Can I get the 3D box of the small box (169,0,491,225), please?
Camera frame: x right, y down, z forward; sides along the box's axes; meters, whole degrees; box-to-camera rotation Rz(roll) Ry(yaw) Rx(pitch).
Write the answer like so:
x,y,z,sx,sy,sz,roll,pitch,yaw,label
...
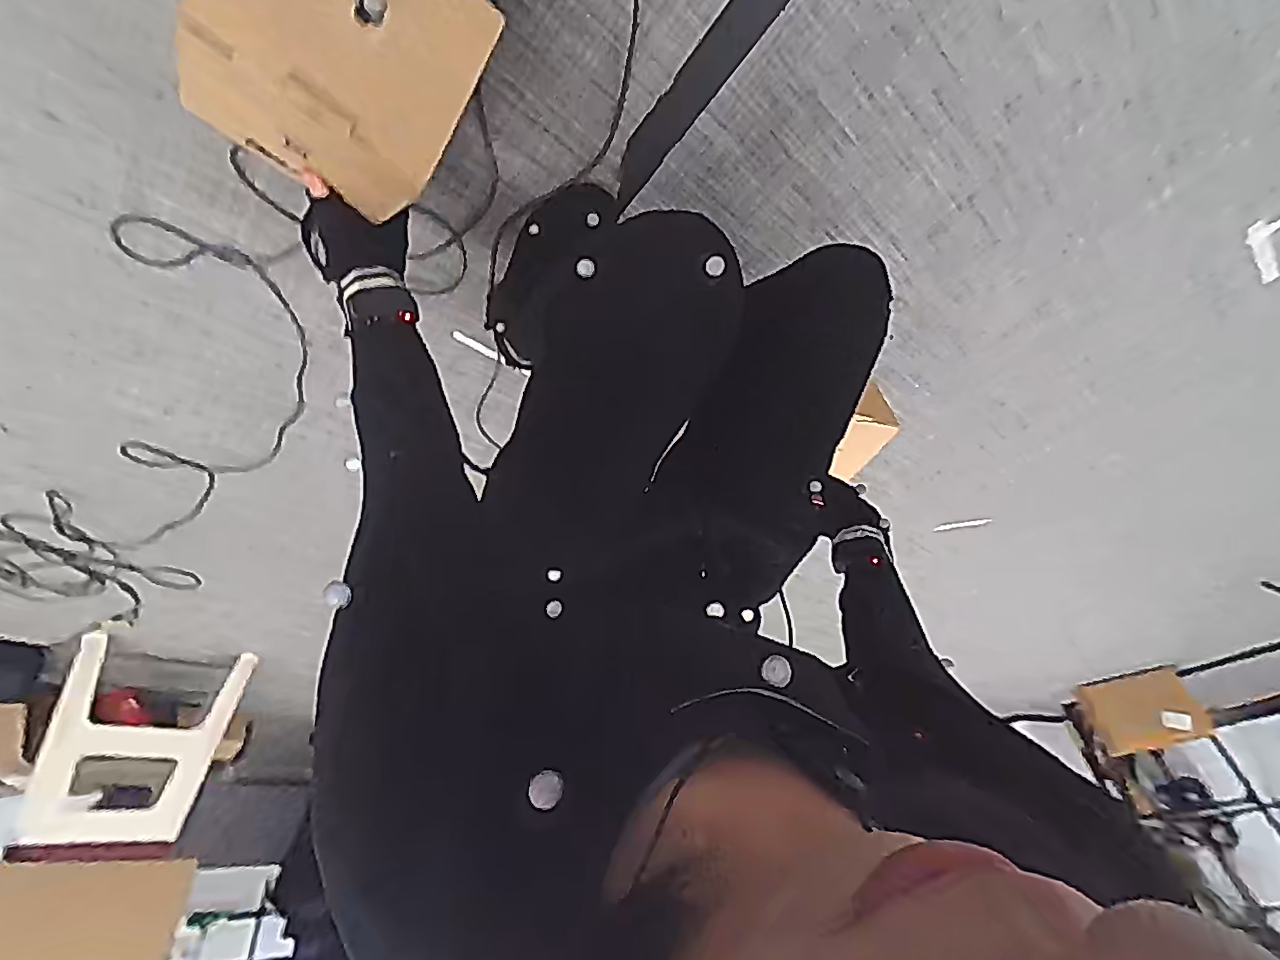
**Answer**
x,y,z,sx,sy,sz,roll,pitch,yaw,label
-0.246,-0.346,0.443,0.168,0.179,0.176,28,84,-40,small box
